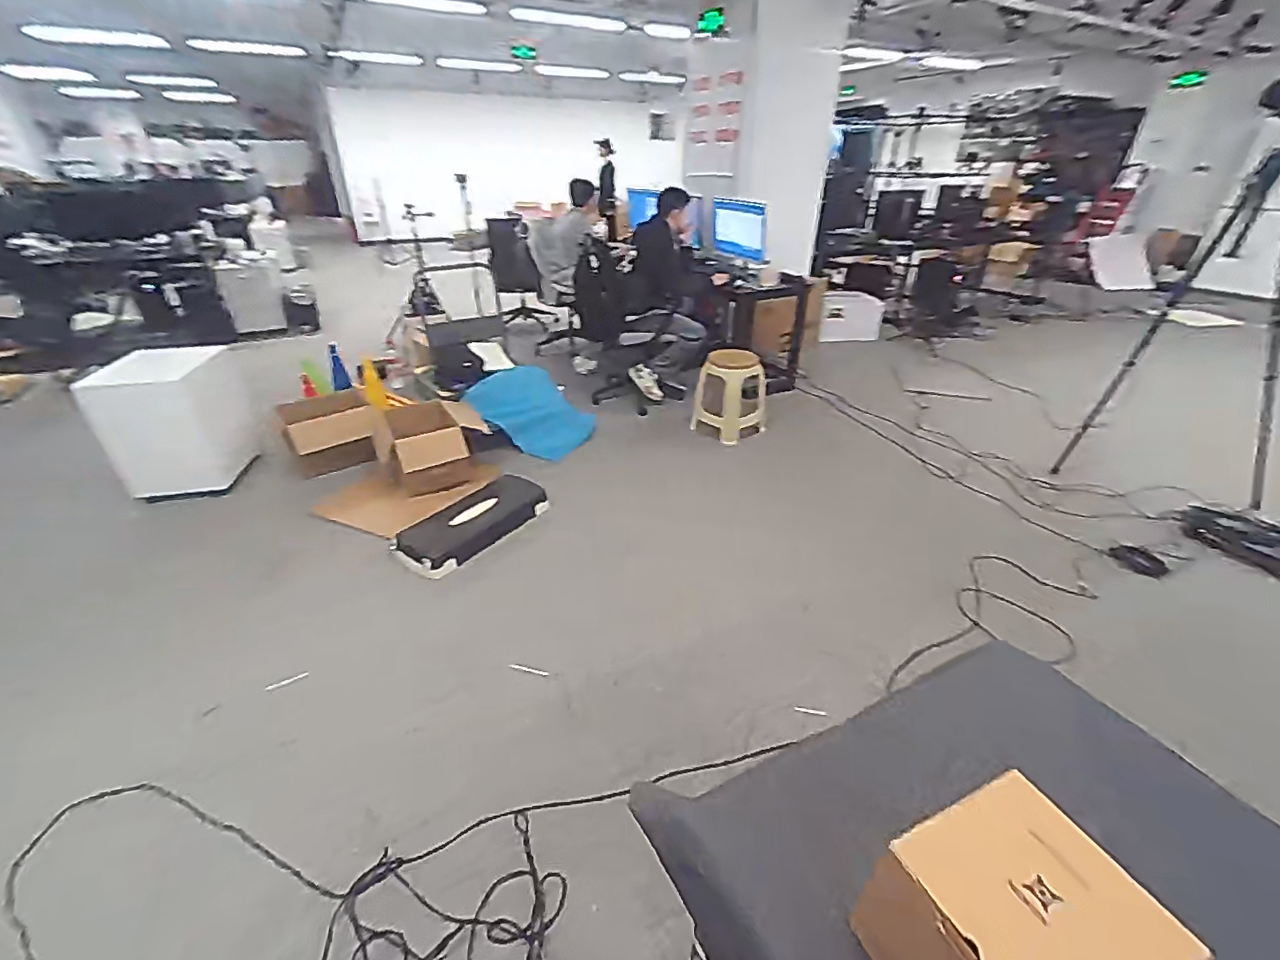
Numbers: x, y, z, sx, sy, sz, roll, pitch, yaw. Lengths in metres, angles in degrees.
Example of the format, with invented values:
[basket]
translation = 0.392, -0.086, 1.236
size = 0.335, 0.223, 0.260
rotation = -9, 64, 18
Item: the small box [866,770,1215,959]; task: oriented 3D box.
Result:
[small box]
translation = 0.331, 0.413, 0.487
size = 0.179, 0.176, 0.168
rotation = -12, 34, -22
